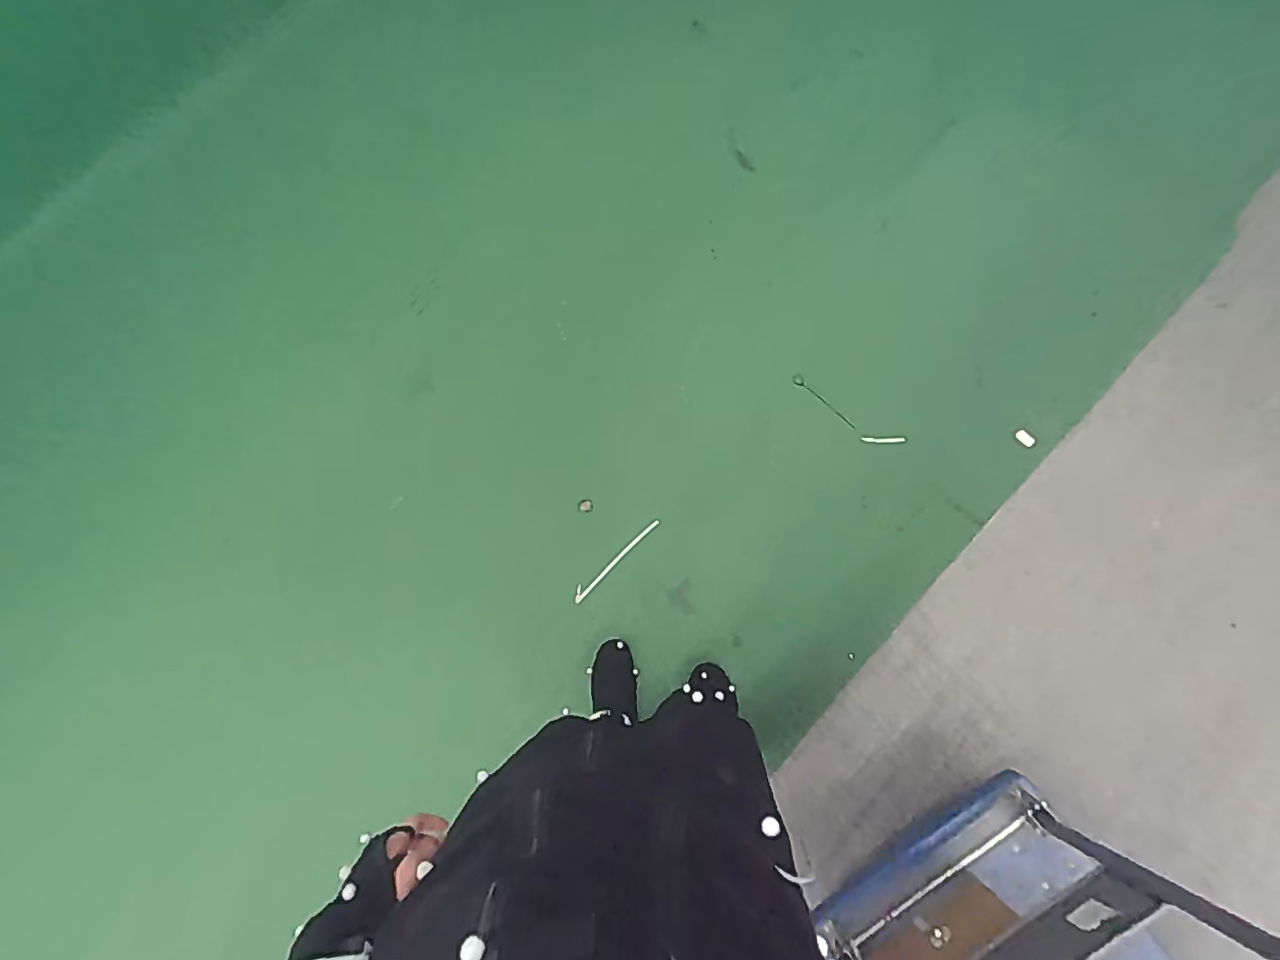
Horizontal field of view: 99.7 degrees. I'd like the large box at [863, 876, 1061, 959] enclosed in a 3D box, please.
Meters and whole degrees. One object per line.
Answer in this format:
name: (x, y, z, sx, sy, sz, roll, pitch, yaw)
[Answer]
large box: (0.653, 1.016, 0.915, 0.320, 0.320, 0.408, -34, 76, -3)
